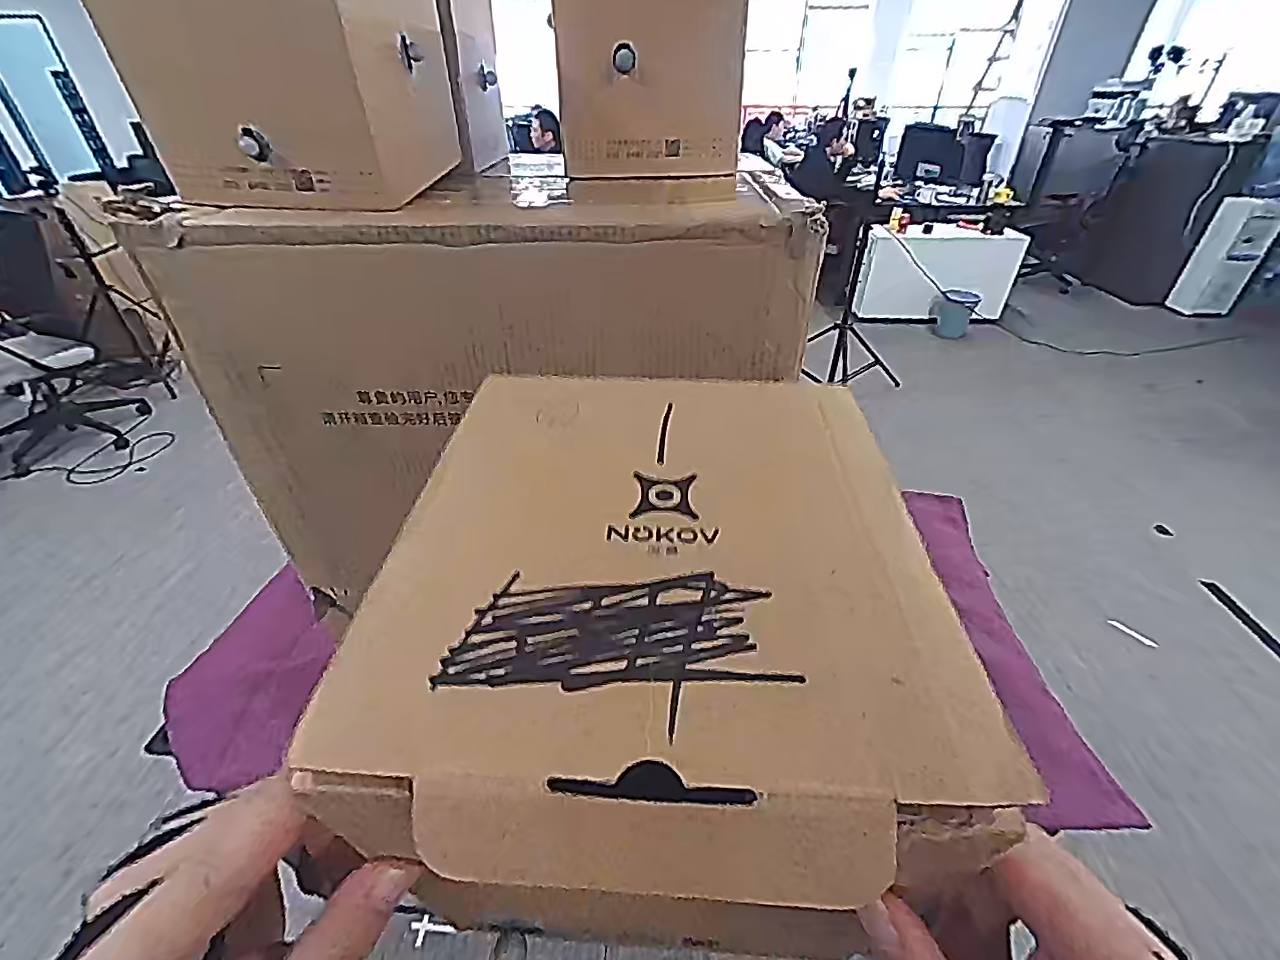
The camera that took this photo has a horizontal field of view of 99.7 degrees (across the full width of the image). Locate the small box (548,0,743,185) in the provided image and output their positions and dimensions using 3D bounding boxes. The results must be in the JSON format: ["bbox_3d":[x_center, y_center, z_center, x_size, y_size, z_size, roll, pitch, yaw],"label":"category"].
[{"bbox_3d":[0.010,-0.398,0.541,0.168,0.176,0.179,-1,35,1],"label":"small box"}]

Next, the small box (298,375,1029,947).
[{"bbox_3d":[0.009,0.072,0.232,0.168,0.176,0.179,2,41,3],"label":"small box"}]
